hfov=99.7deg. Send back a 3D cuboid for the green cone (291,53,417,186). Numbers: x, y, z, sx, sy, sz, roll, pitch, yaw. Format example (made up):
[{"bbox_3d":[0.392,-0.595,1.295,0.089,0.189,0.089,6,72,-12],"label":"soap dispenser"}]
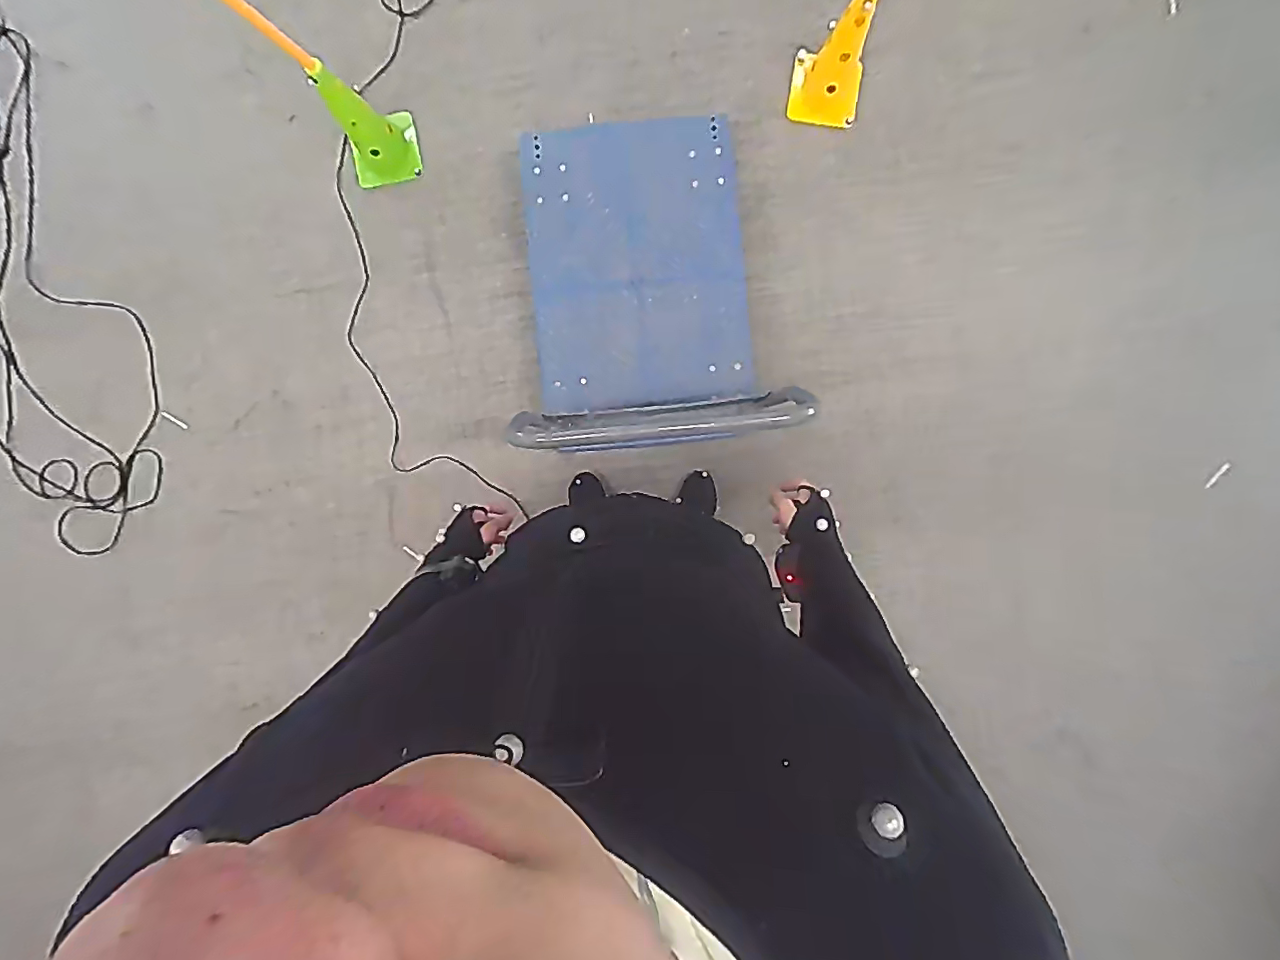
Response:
[{"bbox_3d":[-0.788,-0.993,1.447,0.202,0.368,0.200,-12,91,3],"label":"green cone"}]
